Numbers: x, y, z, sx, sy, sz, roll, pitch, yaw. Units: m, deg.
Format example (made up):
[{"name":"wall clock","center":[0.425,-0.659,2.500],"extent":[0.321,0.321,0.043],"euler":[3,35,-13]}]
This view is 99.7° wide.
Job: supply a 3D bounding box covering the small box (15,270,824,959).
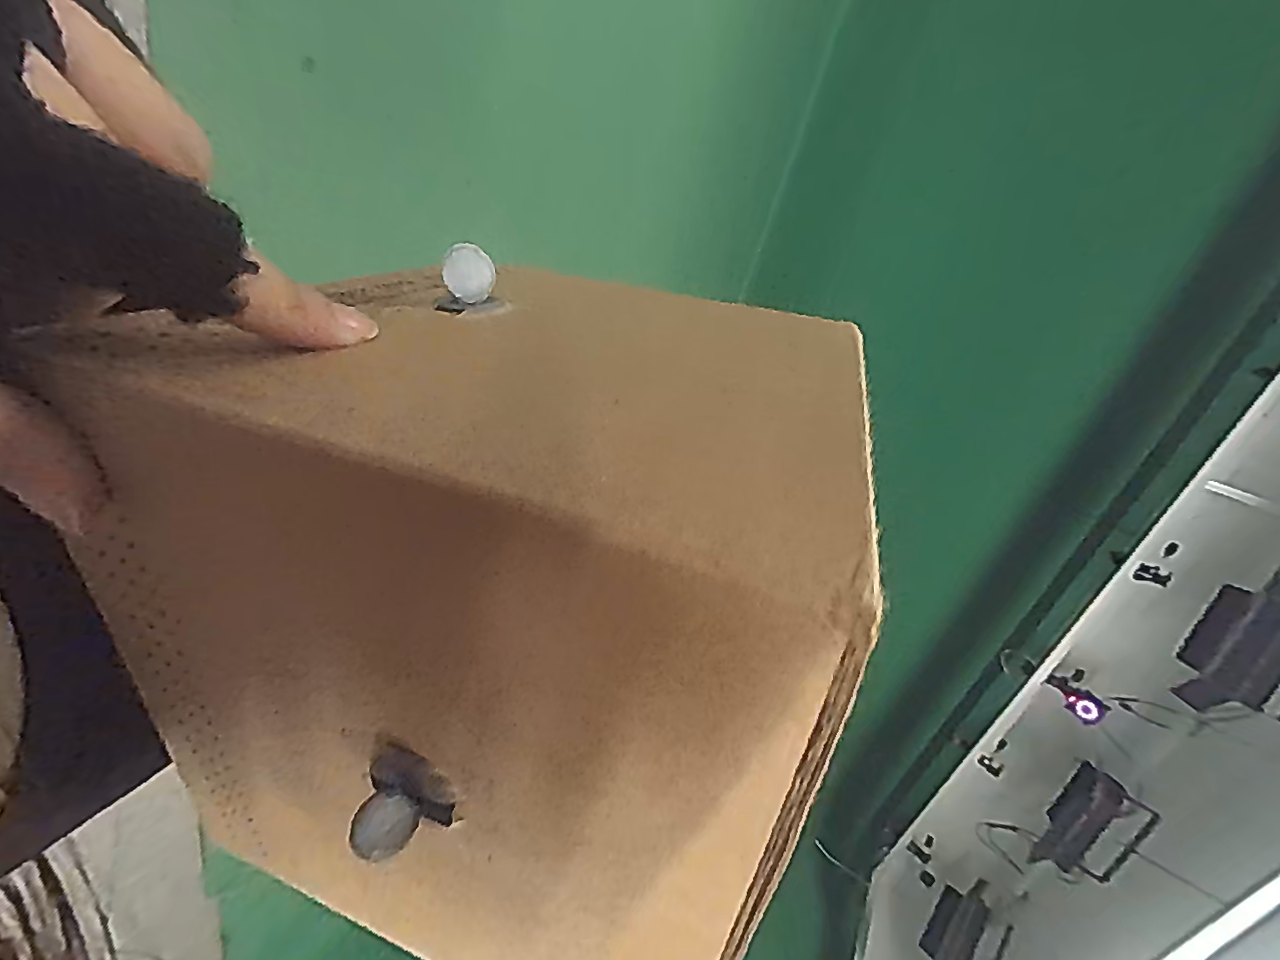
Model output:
[{"name":"small box","center":[-0.043,0.033,0.200],"extent":[0.168,0.176,0.179],"euler":[-53,154,-58]}]
